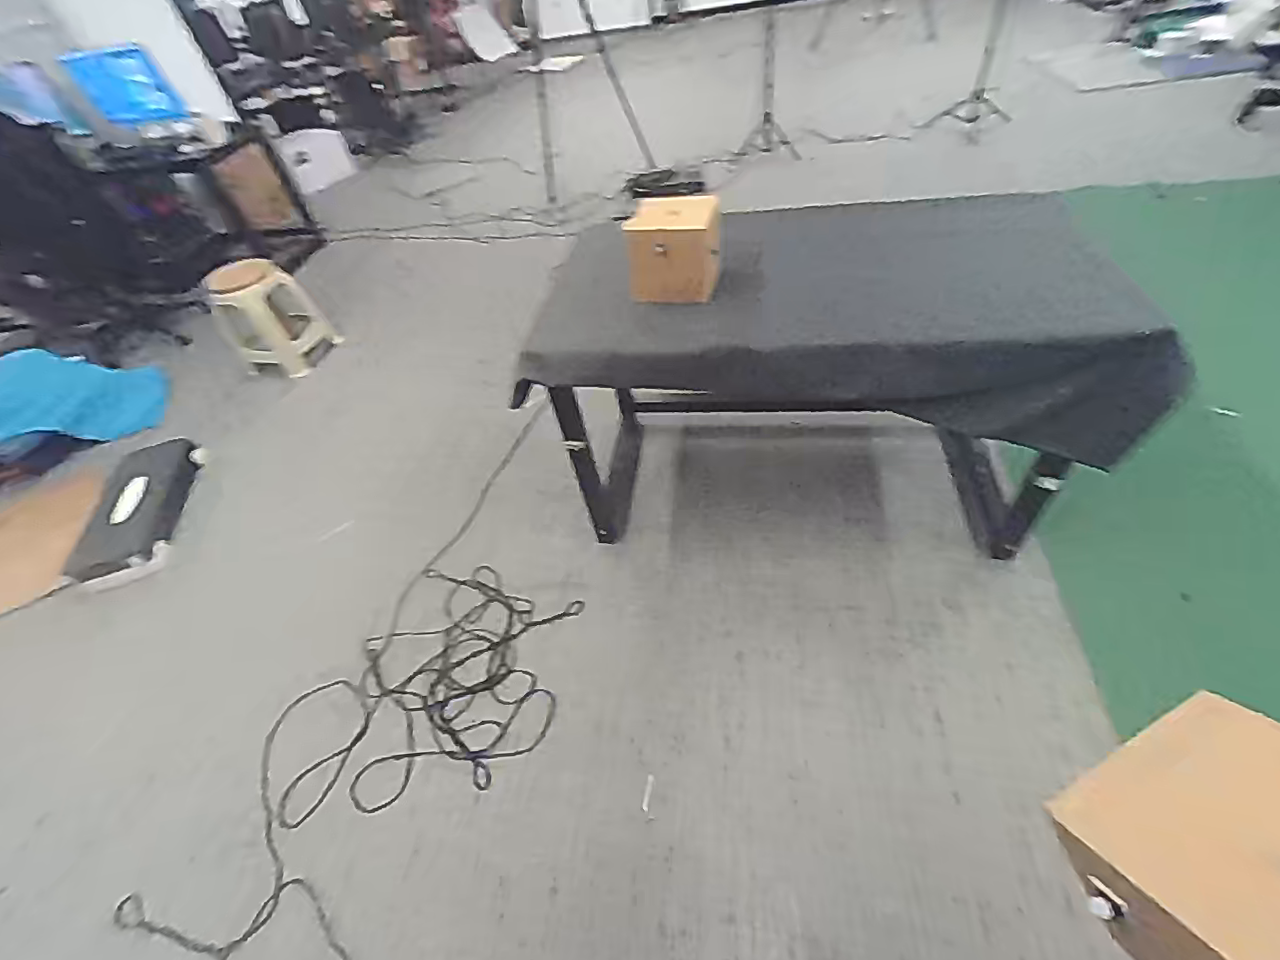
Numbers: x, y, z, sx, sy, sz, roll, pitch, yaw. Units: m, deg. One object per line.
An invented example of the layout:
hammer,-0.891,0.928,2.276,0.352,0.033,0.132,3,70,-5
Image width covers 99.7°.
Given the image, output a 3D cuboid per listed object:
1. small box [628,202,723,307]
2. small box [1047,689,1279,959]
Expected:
small box,0.088,-0.508,1.223,0.179,0.176,0.168,7,49,16
small box,0.461,0.292,0.394,0.179,0.168,0.176,-33,9,-3
